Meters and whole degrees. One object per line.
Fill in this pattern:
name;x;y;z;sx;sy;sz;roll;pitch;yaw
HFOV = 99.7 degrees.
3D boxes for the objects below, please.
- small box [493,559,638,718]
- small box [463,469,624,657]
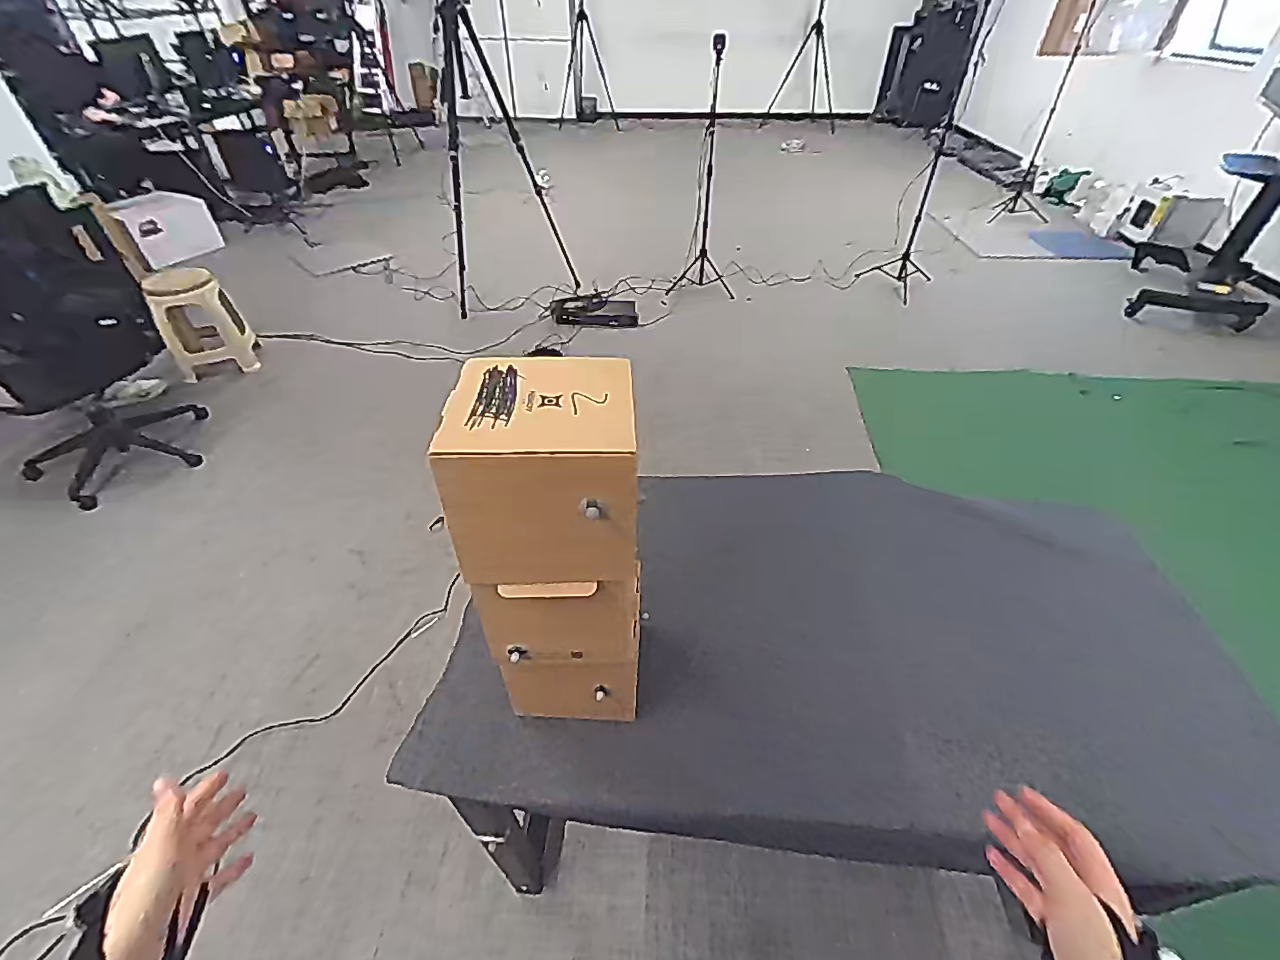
small box;-0.093;0.228;0.784;0.179;0.176;0.168;0;40;2
small box;-0.105;0.106;0.674;0.168;0.176;0.179;-1;40;-2
